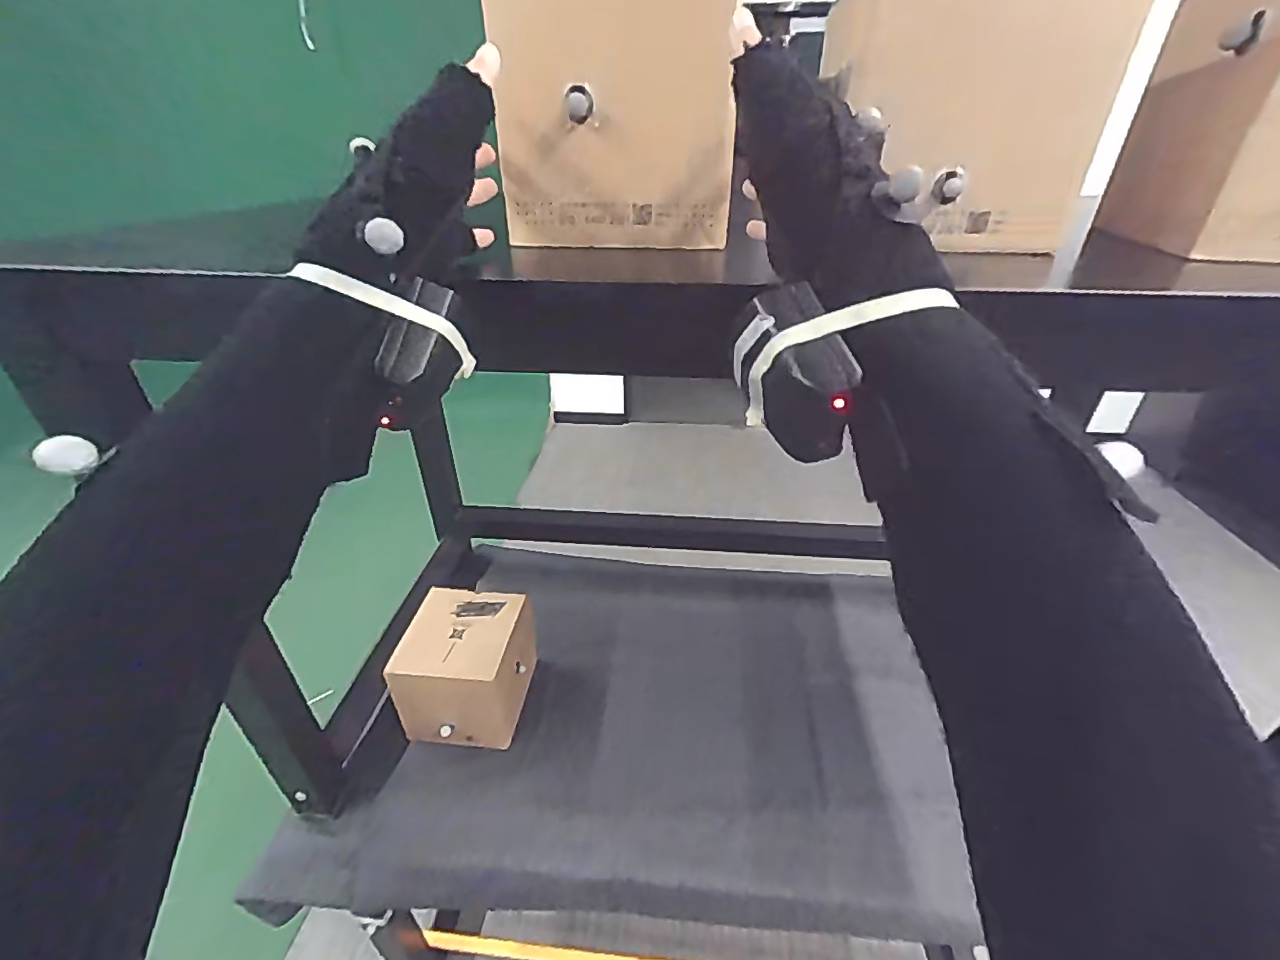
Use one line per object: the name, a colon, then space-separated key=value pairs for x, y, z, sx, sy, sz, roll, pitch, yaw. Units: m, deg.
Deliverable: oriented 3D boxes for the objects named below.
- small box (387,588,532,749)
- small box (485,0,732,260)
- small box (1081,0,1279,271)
small box: x=-0.279 y=0.303 z=0.883 sx=0.168 sy=0.176 sz=0.179 roll=3 pitch=32 yaw=4
small box: x=-0.011 y=-0.286 z=0.455 sx=0.168 sy=0.176 sz=0.179 roll=3 pitch=31 yaw=5
small box: x=0.470 y=-0.249 z=0.388 sx=0.168 sy=0.176 sz=0.179 roll=9 pitch=32 yaw=14
